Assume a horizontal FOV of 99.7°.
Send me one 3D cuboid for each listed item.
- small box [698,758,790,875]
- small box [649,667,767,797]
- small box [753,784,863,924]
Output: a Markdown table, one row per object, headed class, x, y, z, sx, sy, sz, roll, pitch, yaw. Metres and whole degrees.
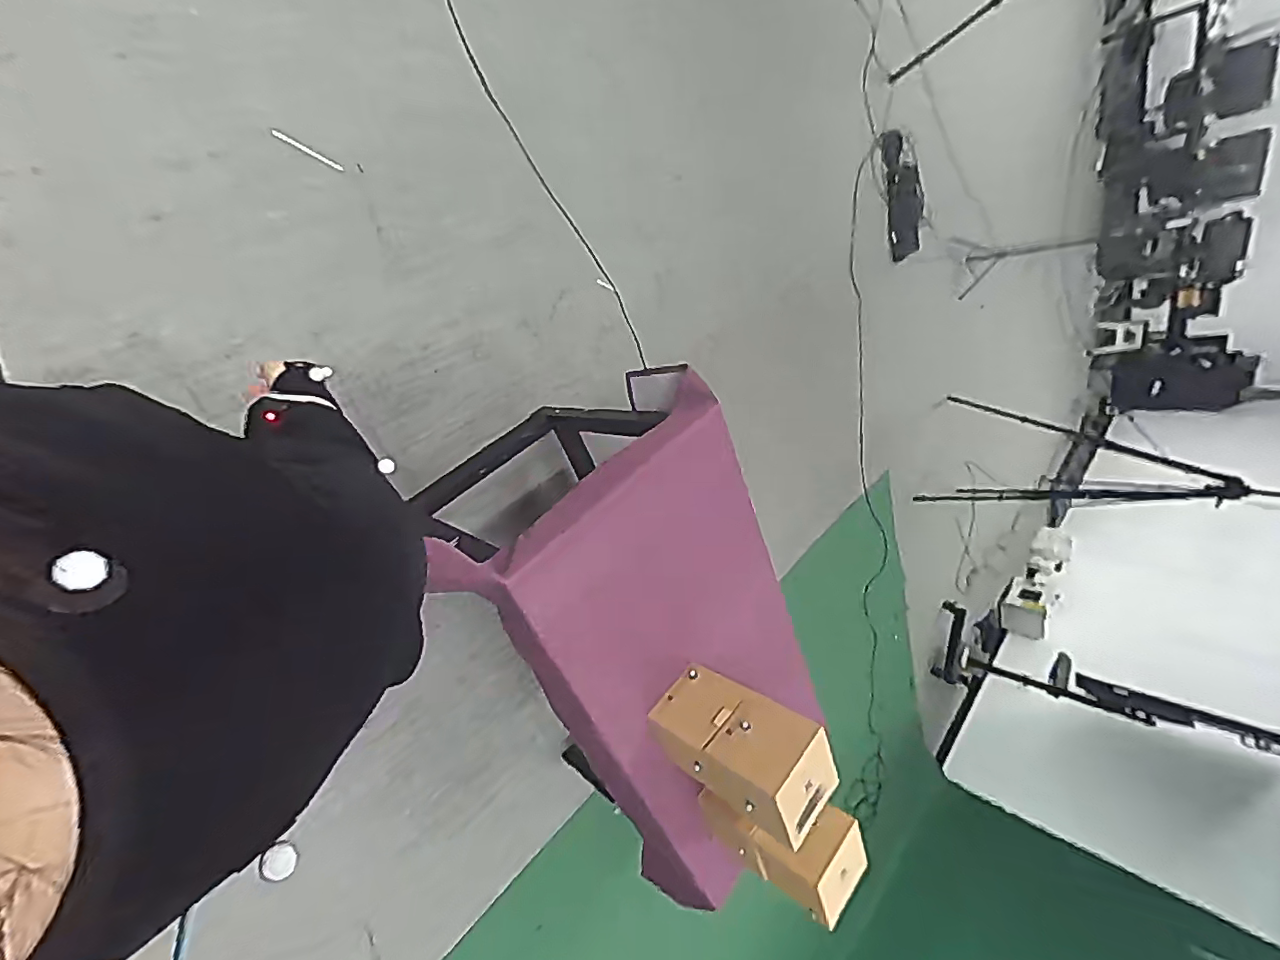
| class | x | y | z | sx | sy | sz | roll | pitch | yaw |
| --- | --- | --- | --- | --- | --- | --- | --- | --- | --- |
| small box | 0.267 | 0.812 | 1.342 | 0.168 | 0.176 | 0.179 | -34 | 118 | -32 |
| small box | 0.147 | 0.538 | 1.186 | 0.168 | 0.176 | 0.179 | -40 | 122 | -29 |
| small box | 0.377 | 0.830 | 1.223 | 0.168 | 0.176 | 0.179 | -36 | 120 | -31 |
